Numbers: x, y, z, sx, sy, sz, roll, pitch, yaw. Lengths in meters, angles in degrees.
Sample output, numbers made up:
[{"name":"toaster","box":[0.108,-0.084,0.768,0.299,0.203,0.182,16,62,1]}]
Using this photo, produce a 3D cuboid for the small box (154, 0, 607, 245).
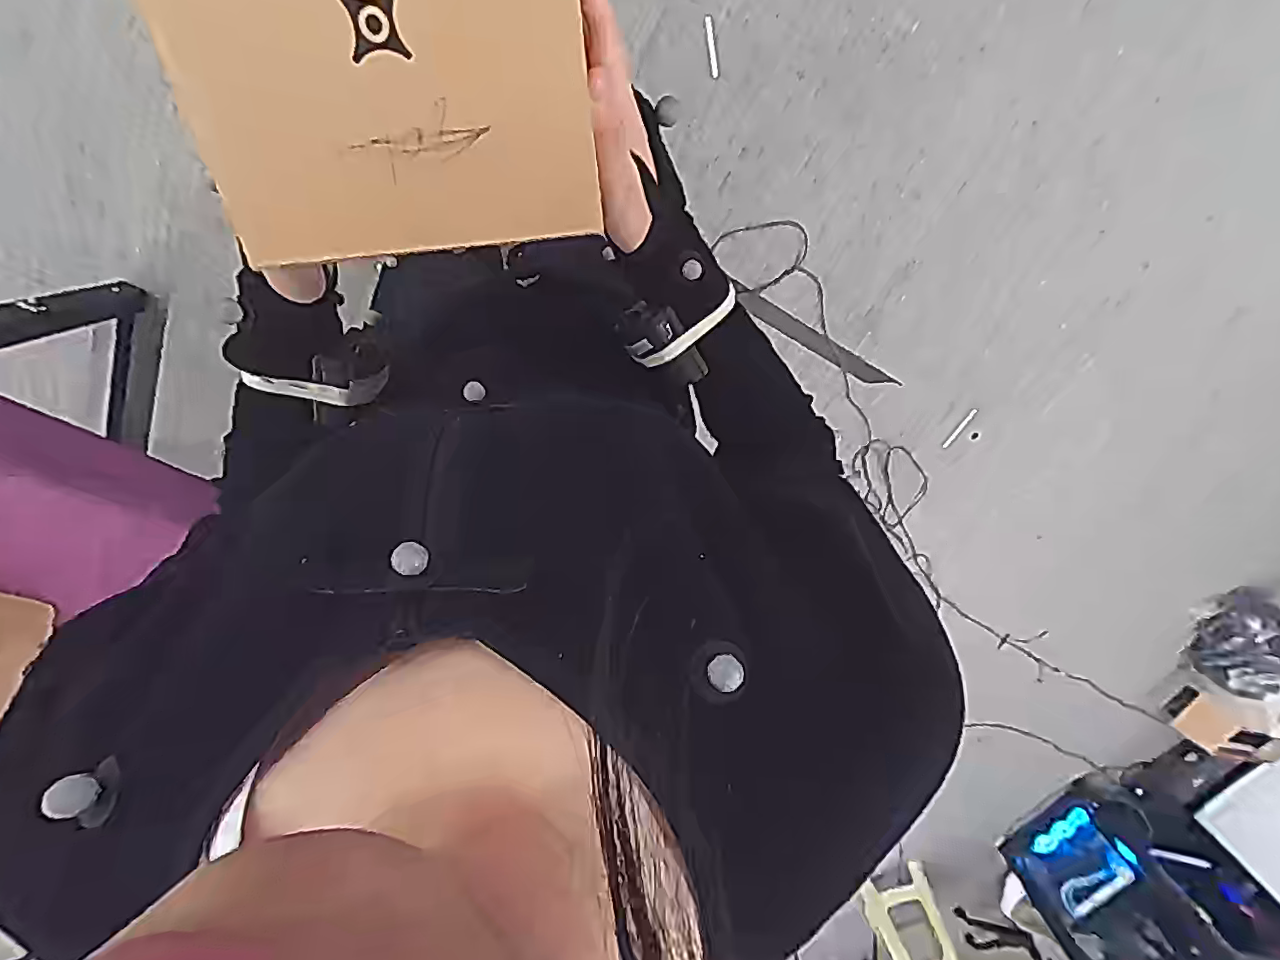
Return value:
[{"name":"small box","box":[-0.111,-0.229,0.276,0.168,0.176,0.179,-7,122,-5]}]
